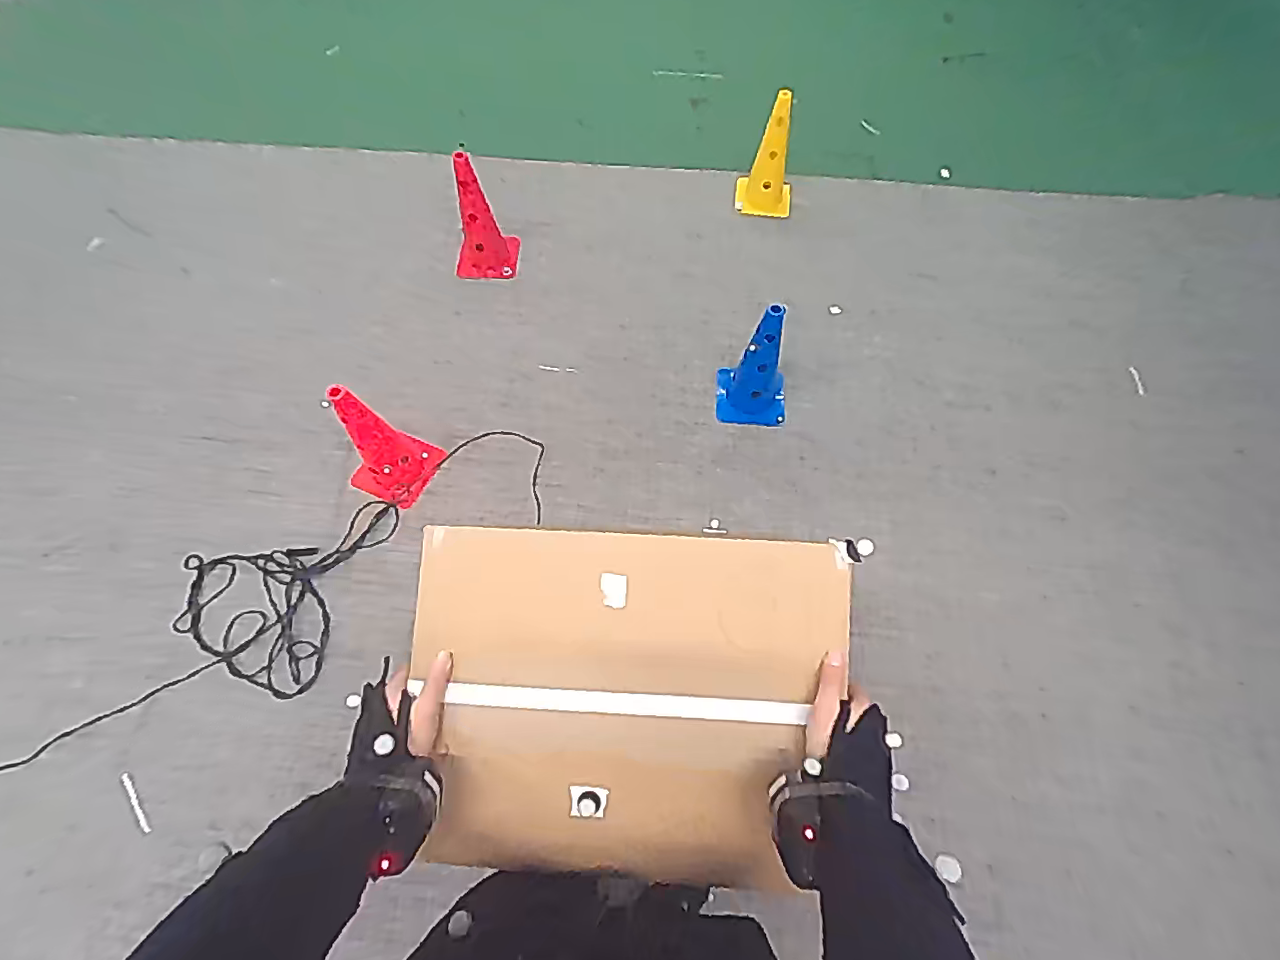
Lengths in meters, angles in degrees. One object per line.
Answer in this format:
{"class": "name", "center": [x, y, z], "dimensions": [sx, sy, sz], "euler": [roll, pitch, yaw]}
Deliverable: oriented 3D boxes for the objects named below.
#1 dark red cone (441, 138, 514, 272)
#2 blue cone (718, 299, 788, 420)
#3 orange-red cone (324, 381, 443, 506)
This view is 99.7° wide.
{"class": "dark red cone", "center": [-0.536, -0.859, 1.696], "dimensions": [0.202, 0.394, 0.201], "euler": [-2, 60, 0]}
{"class": "blue cone", "center": [0.327, -0.334, 1.454], "dimensions": [0.192, 0.380, 0.193], "euler": [5, 63, 3]}
{"class": "orange-red cone", "center": [-0.672, -0.117, 1.336], "dimensions": [0.199, 0.360, 0.198], "euler": [22, 64, 13]}
